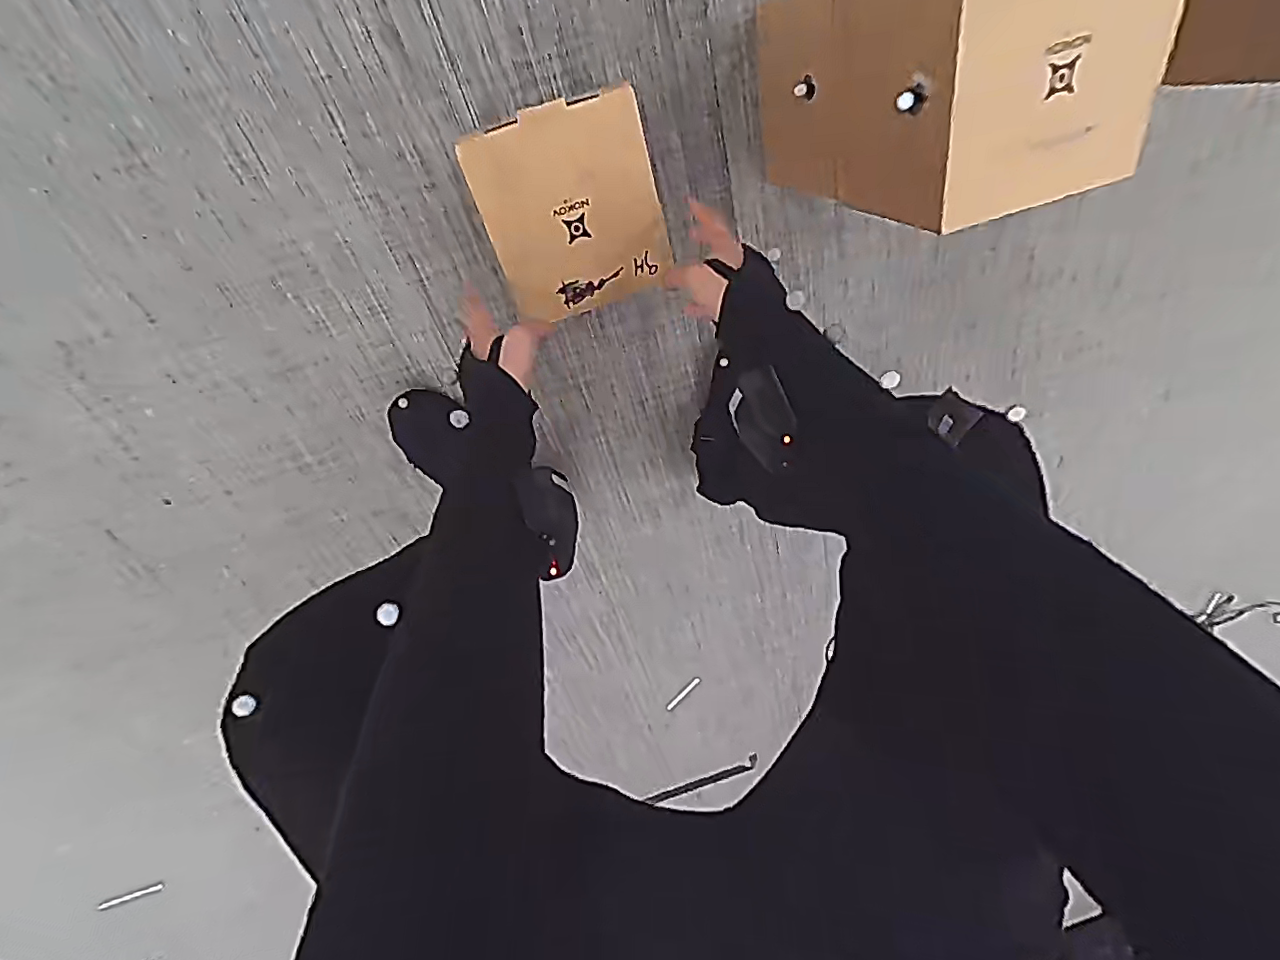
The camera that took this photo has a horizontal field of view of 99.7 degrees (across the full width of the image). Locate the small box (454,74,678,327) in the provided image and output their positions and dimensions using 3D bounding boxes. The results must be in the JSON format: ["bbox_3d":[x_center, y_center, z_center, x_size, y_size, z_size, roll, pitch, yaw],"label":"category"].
[{"bbox_3d":[-0.076,-0.287,0.561,0.168,0.176,0.179,-19,125,-1],"label":"small box"}]

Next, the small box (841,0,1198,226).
[{"bbox_3d":[0.274,-0.323,0.425,0.168,0.176,0.179,-18,126,-2],"label":"small box"}]

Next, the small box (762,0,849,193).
[{"bbox_3d":[0.235,-0.417,0.554,0.168,0.176,0.179,-18,127,-3],"label":"small box"}]
